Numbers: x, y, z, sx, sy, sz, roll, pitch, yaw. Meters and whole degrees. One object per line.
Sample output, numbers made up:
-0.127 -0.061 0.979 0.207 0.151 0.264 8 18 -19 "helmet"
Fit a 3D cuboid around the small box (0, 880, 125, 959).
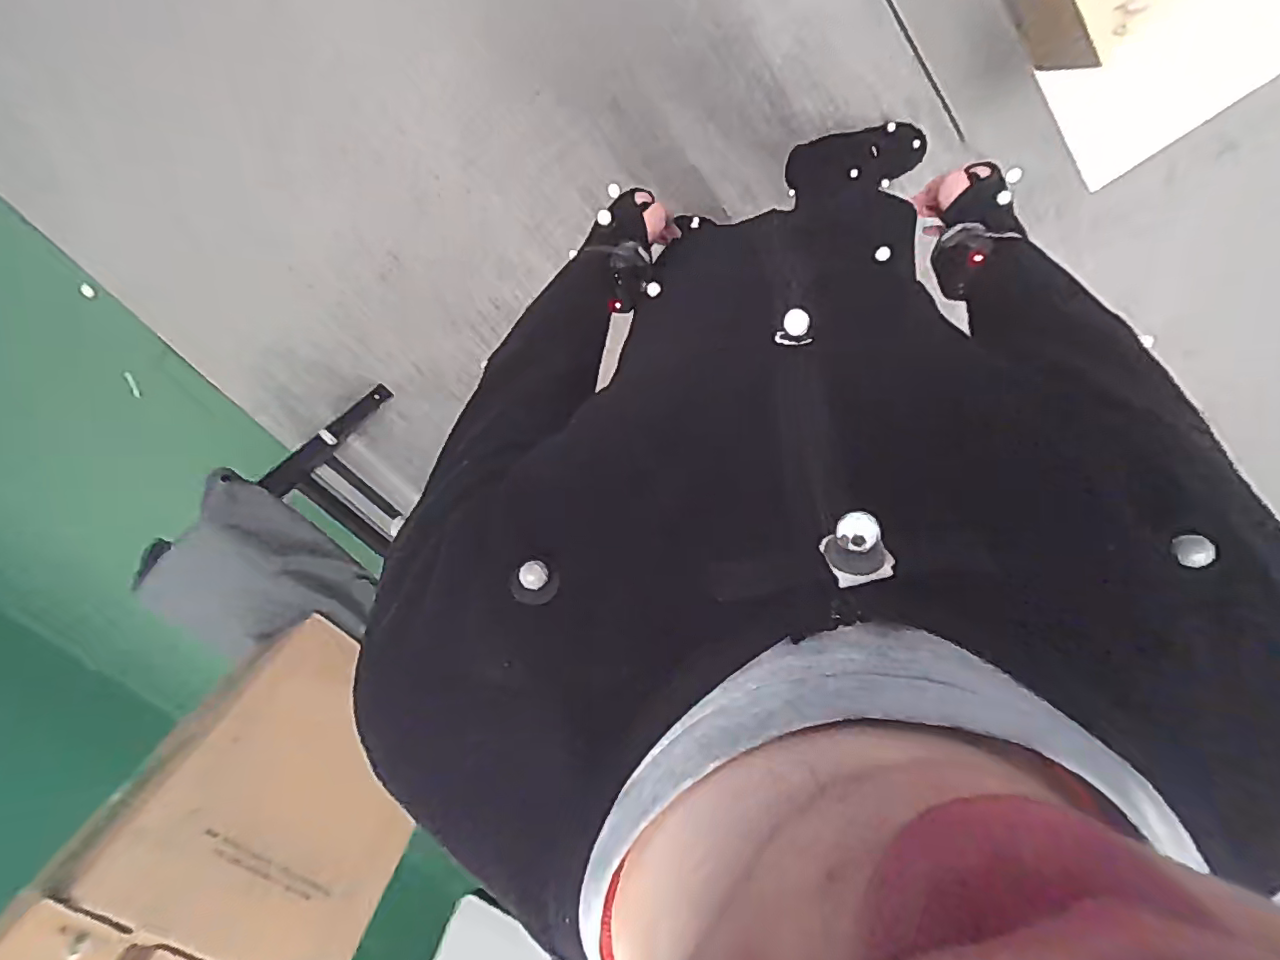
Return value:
-1.025 0.794 0.897 0.179 0.176 0.168 -26 116 28 "small box"
